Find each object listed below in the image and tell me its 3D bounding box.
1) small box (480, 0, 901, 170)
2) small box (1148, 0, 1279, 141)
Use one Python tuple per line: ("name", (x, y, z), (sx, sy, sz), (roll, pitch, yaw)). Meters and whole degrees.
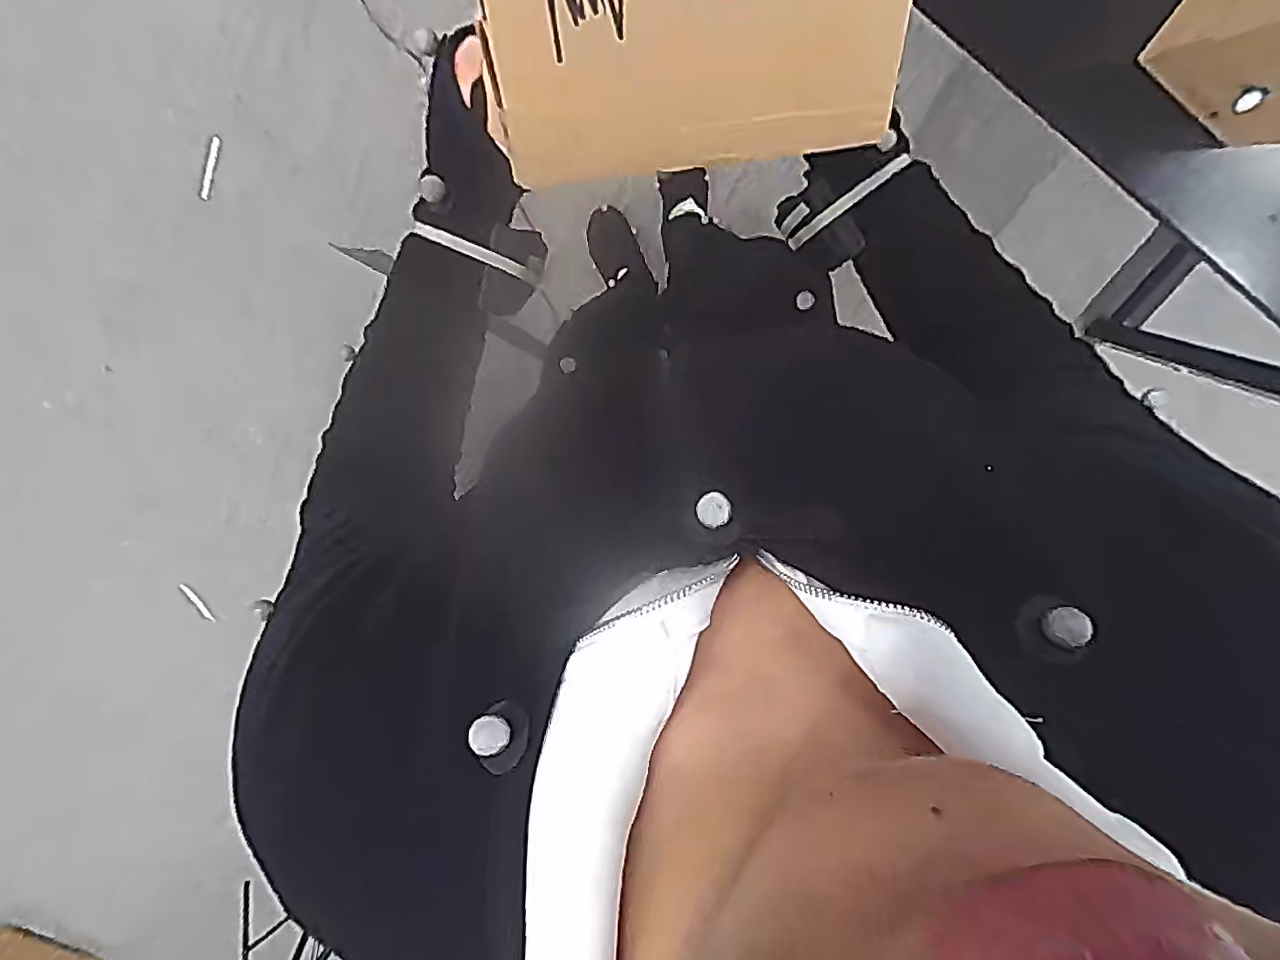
("small box", (0.014, -0.270, 0.262), (0.179, 0.176, 0.168), (-8, 134, 0))
("small box", (0.632, -0.441, 0.492), (0.168, 0.176, 0.179), (25, 114, -16))
